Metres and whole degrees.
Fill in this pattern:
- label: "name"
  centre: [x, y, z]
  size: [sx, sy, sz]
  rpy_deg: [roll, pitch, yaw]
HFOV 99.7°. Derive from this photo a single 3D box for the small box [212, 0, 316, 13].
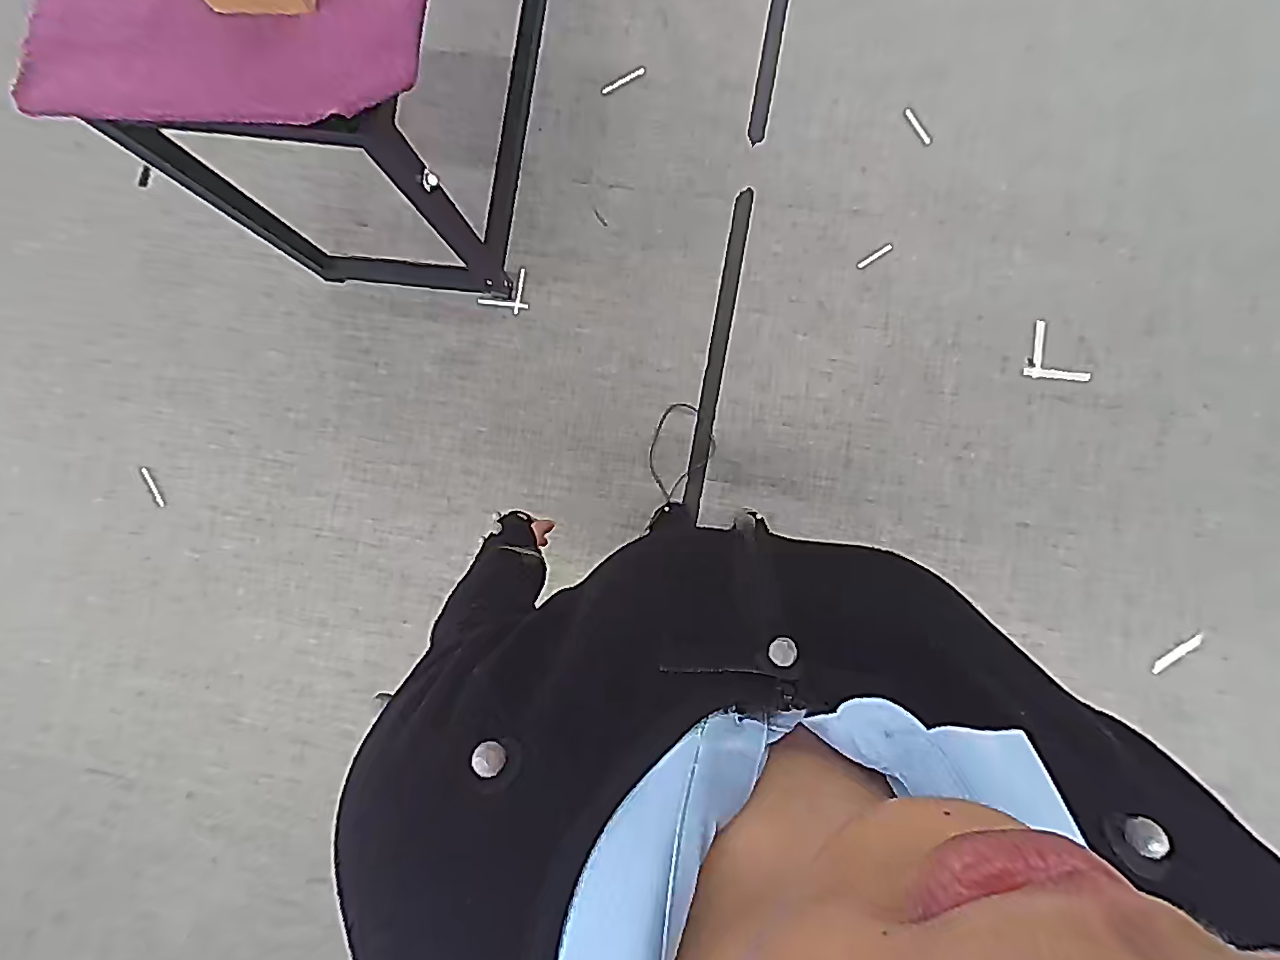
- label: "small box"
  centre: [-0.605, -0.844, 0.800]
  size: [0.179, 0.176, 0.168]
  rpy_deg: [6, 86, 4]
